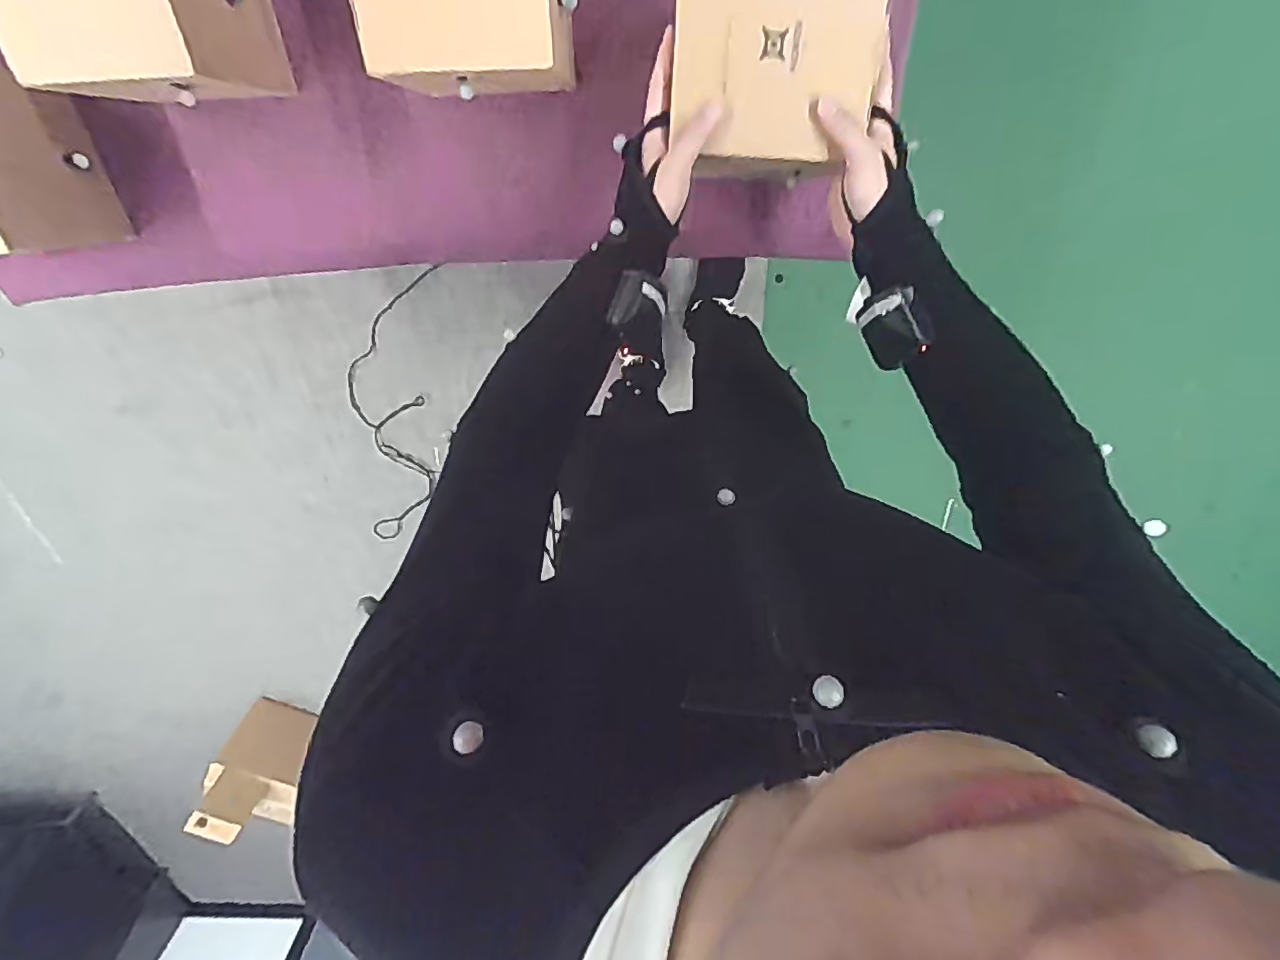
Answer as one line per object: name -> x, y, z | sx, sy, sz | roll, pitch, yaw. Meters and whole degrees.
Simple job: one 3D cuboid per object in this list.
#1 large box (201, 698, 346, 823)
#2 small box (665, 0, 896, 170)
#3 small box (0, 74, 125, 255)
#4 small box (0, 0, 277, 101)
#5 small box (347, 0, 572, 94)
large box -> -1.579, 1.213, 2.347 | 0.408, 0.320, 0.320 | 26, 119, -14
small box -> 0.118, -0.399, 0.513 | 0.179, 0.176, 0.168 | 4, 114, 1
small box -> -0.757, -0.349, 0.603 | 0.168, 0.176, 0.179 | -2, 119, 4
small box -> -0.492, -0.474, 0.520 | 0.179, 0.176, 0.168 | 0, 121, 2
small box -> -0.162, -0.475, 0.512 | 0.179, 0.176, 0.168 | 0, 121, 3
